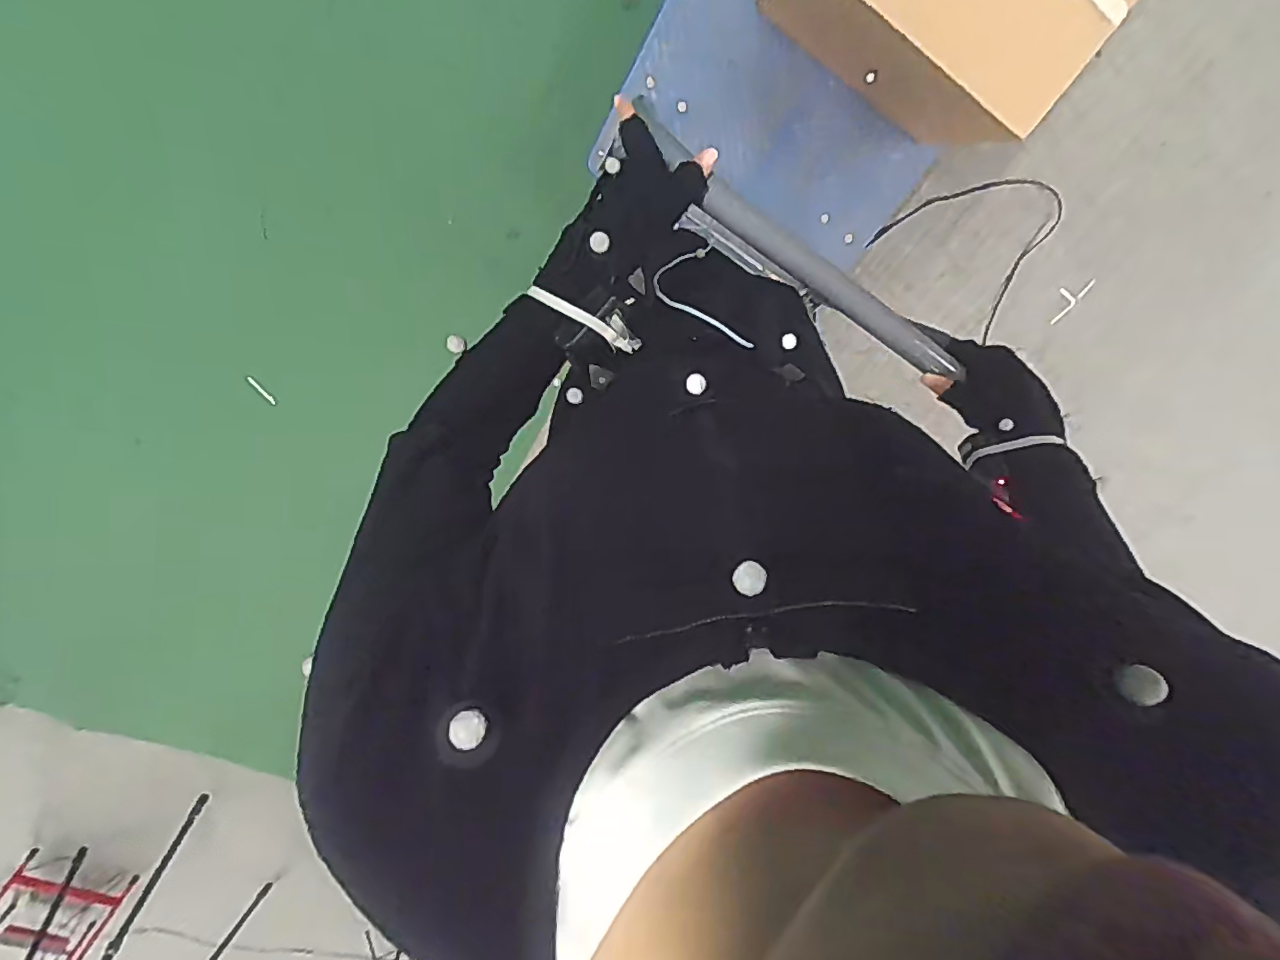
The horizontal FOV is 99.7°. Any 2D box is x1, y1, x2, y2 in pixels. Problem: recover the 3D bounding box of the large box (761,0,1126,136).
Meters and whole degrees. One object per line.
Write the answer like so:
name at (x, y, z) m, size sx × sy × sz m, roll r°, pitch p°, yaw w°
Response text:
large box at (0.448, -0.767, 0.786) m, size 0.408 × 0.320 × 0.320 m, roll 27°, pitch 117°, yaw -15°
